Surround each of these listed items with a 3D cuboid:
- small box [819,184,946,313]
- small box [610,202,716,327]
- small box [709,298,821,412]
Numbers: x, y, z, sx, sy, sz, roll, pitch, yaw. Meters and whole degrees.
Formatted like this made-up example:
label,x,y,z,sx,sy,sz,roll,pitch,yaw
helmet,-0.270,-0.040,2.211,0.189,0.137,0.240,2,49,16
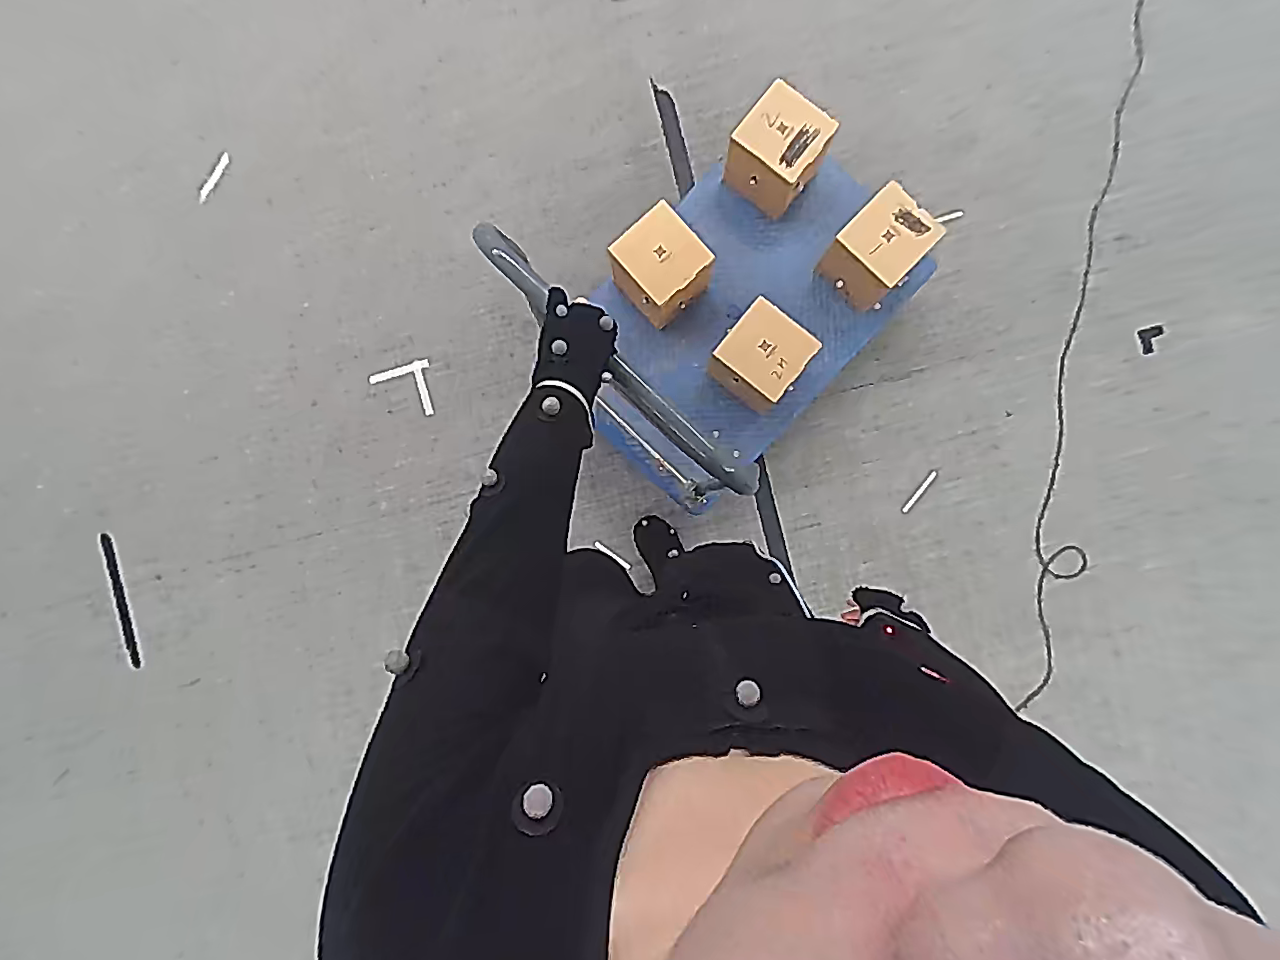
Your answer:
label,x,y,z,sx,sy,sz,roll,pitch,yaw
small box,0.541,-0.520,1.237,0.168,0.176,0.179,45,91,2
small box,0.049,-0.487,1.251,0.168,0.176,0.179,-42,90,0
small box,0.275,-0.275,1.239,0.179,0.176,0.168,40,90,2
